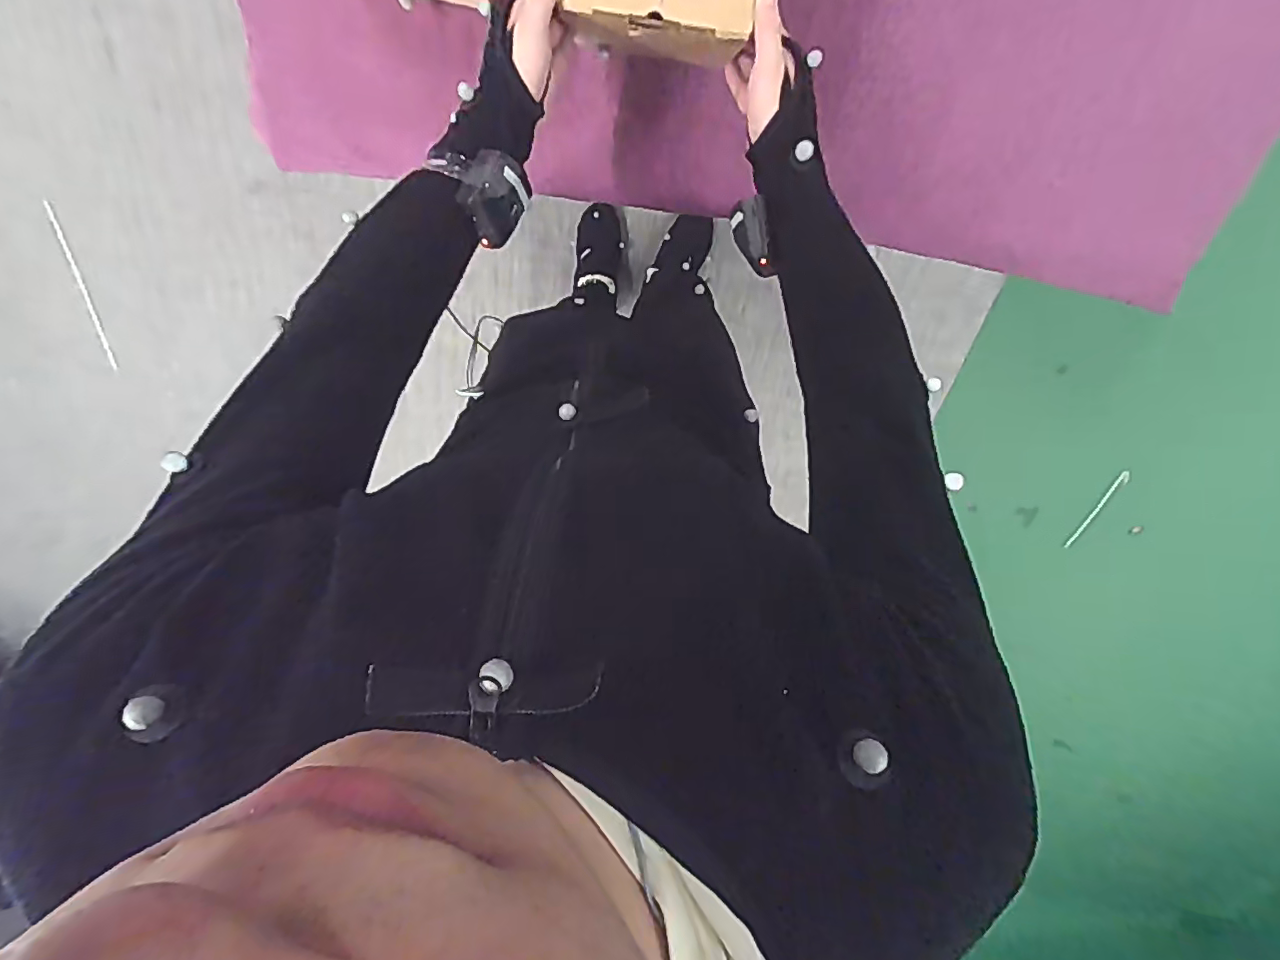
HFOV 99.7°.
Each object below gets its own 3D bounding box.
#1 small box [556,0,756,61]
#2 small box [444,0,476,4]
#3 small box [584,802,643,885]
[{"bbox_3d":[0.023,-0.490,0.468,0.168,0.176,0.179,6,120,-5],"label":"small box"},{"bbox_3d":[-0.235,-0.558,0.483,0.179,0.176,0.168,9,123,-4],"label":"small box"},{"bbox_3d":[-0.084,1.209,1.801,0.168,0.176,0.179,10,123,-4],"label":"small box"}]
